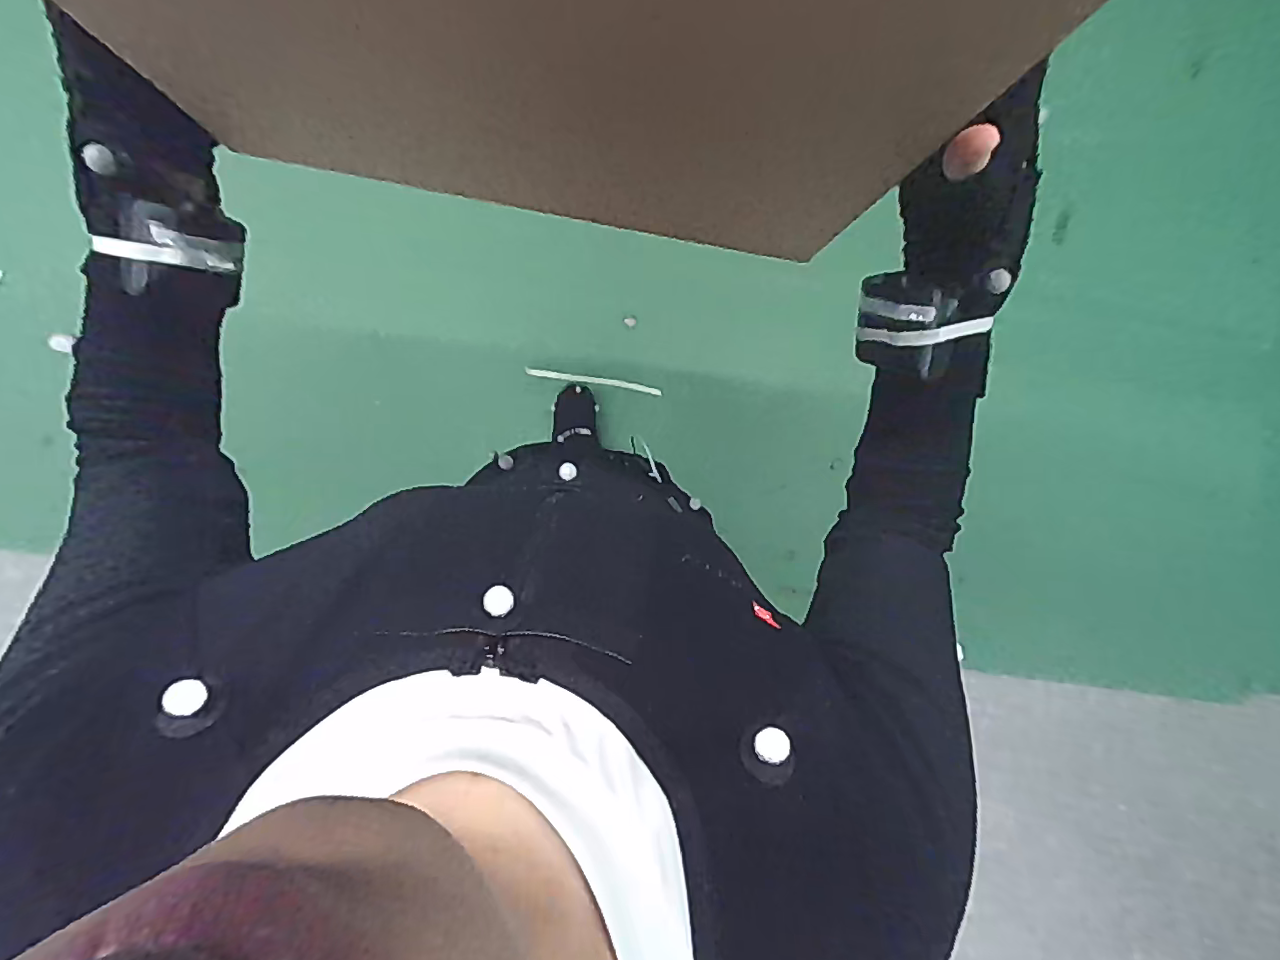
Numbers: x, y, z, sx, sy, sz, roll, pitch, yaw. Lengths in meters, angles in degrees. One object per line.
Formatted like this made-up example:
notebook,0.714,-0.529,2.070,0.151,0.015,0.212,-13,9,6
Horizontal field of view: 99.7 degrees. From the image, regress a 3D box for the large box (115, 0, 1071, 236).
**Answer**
large box,-0.029,-0.343,0.226,0.408,0.320,0.320,8,94,-7
